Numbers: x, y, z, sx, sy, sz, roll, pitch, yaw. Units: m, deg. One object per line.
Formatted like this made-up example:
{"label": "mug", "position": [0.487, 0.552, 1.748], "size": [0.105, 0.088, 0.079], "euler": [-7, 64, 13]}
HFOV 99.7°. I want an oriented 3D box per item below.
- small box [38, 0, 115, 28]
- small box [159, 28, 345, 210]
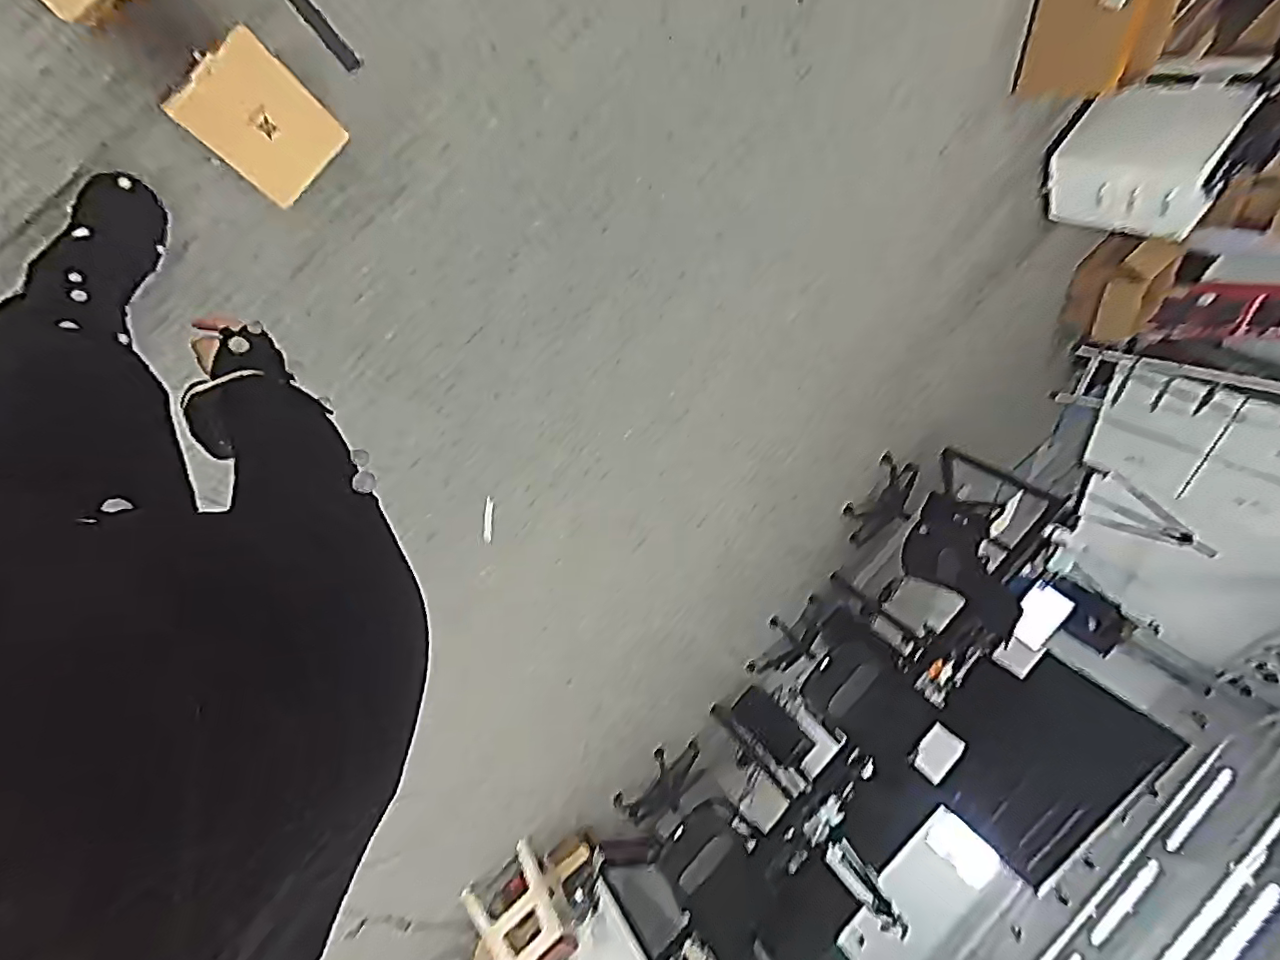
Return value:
{"label": "small box", "position": [-0.738, -0.704, 0.661], "size": [0.168, 0.176, 0.179], "euler": [-46, 140, -5]}
{"label": "small box", "position": [-0.622, -0.577, 0.870], "size": [0.168, 0.176, 0.179], "euler": [-49, 139, -1]}
